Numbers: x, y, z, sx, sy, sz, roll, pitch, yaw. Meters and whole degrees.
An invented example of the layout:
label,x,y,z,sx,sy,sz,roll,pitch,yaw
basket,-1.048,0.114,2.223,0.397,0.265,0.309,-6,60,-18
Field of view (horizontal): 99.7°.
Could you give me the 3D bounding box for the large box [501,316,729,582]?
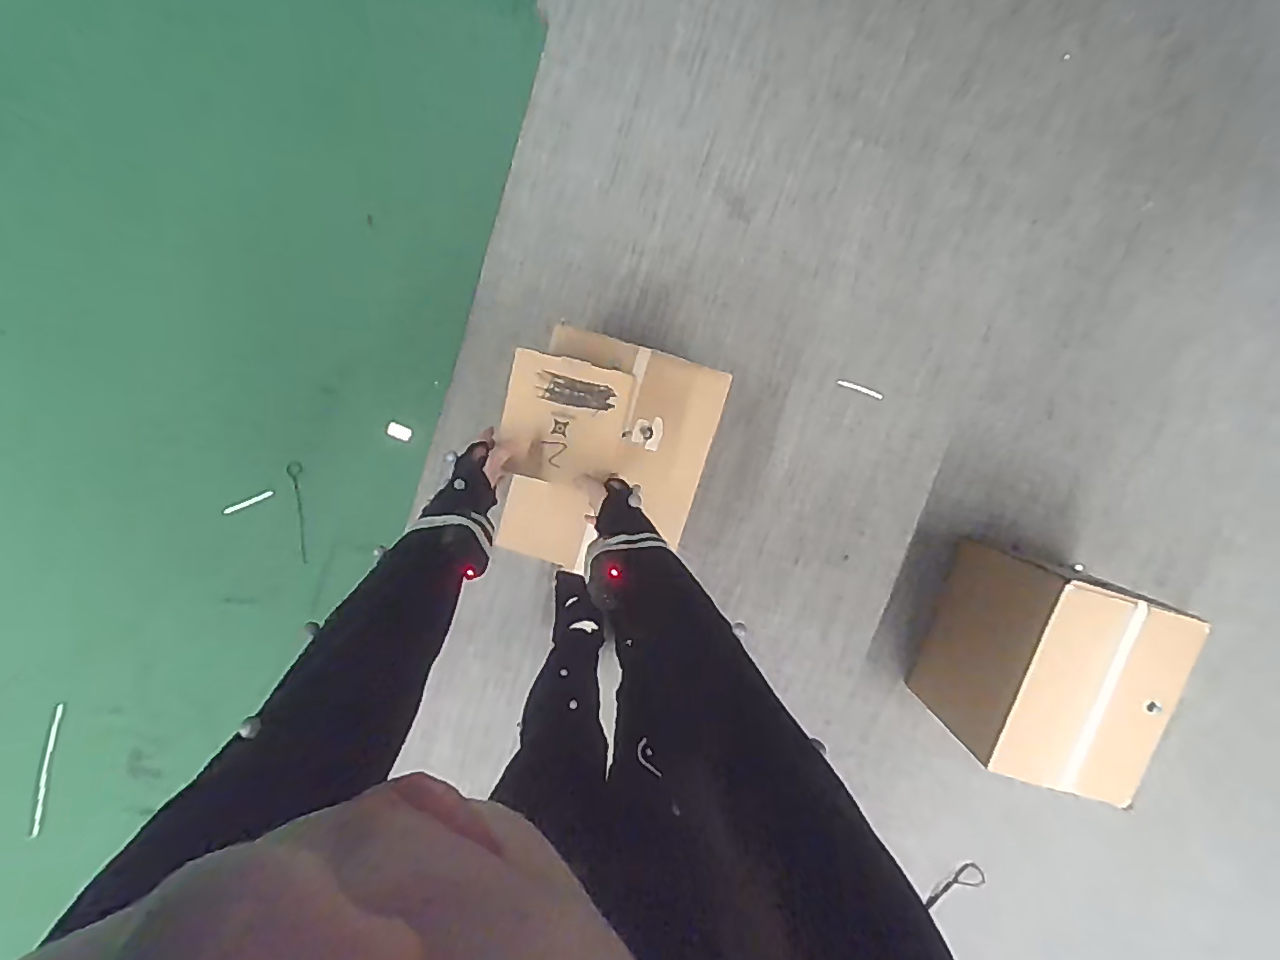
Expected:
label,x,y,z,sx,sy,sz,roll,pitch,yaw
large box,-0.049,-0.064,1.080,0.320,0.320,0.408,17,98,-4
